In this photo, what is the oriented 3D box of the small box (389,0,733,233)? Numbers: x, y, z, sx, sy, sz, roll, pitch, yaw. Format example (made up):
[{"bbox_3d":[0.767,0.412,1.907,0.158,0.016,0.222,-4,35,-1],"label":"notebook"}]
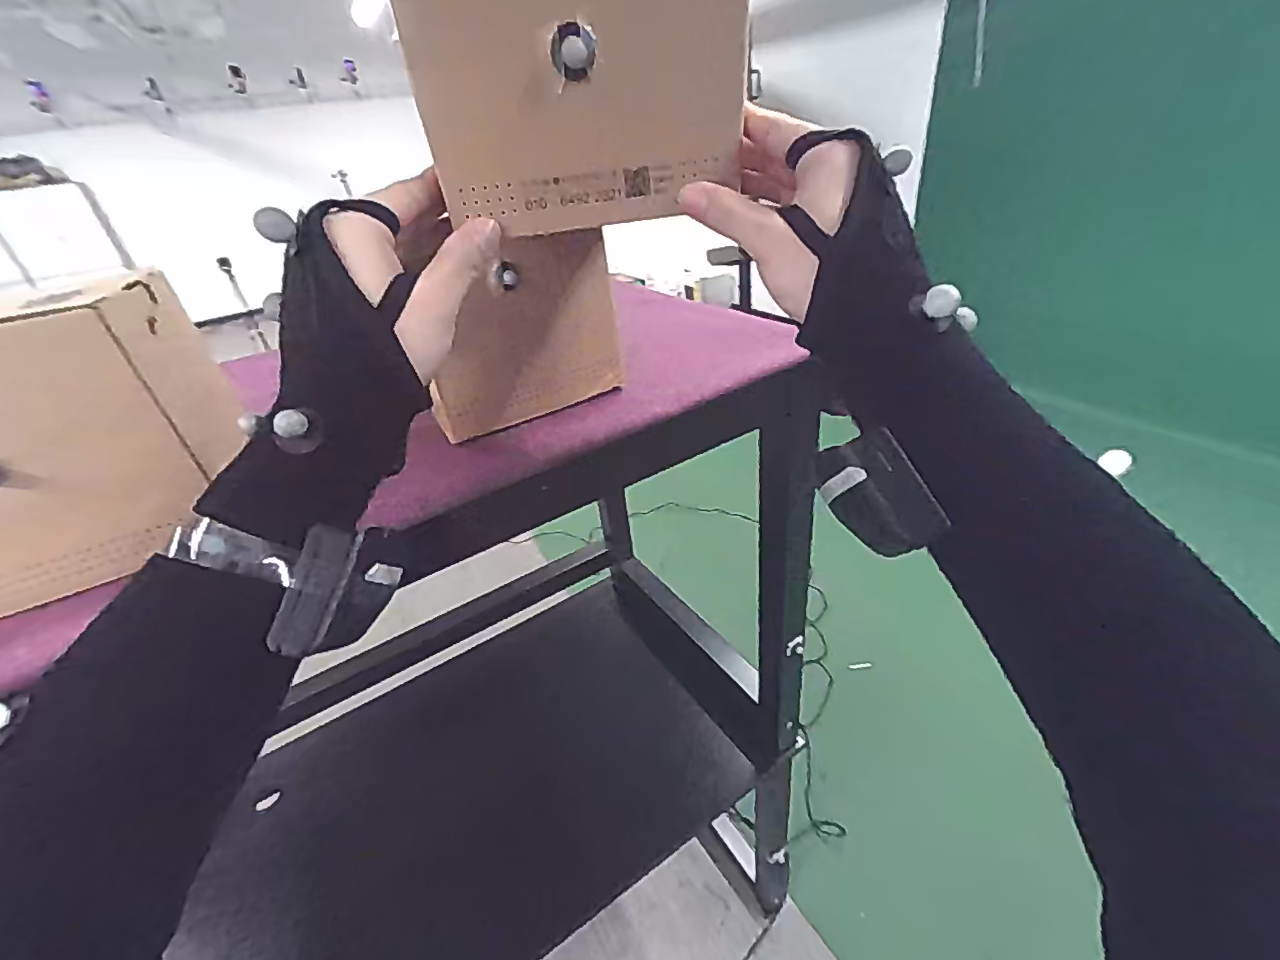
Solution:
[{"bbox_3d":[-0.044,-0.260,0.325,0.168,0.176,0.179,-10,42,-5],"label":"small box"}]

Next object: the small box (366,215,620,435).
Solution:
[{"bbox_3d":[-0.138,-0.162,0.524,0.179,0.176,0.168,-22,35,-20],"label":"small box"}]

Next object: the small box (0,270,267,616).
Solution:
[{"bbox_3d":[-0.404,-0.035,0.388,0.179,0.176,0.168,-22,35,-19],"label":"small box"}]
